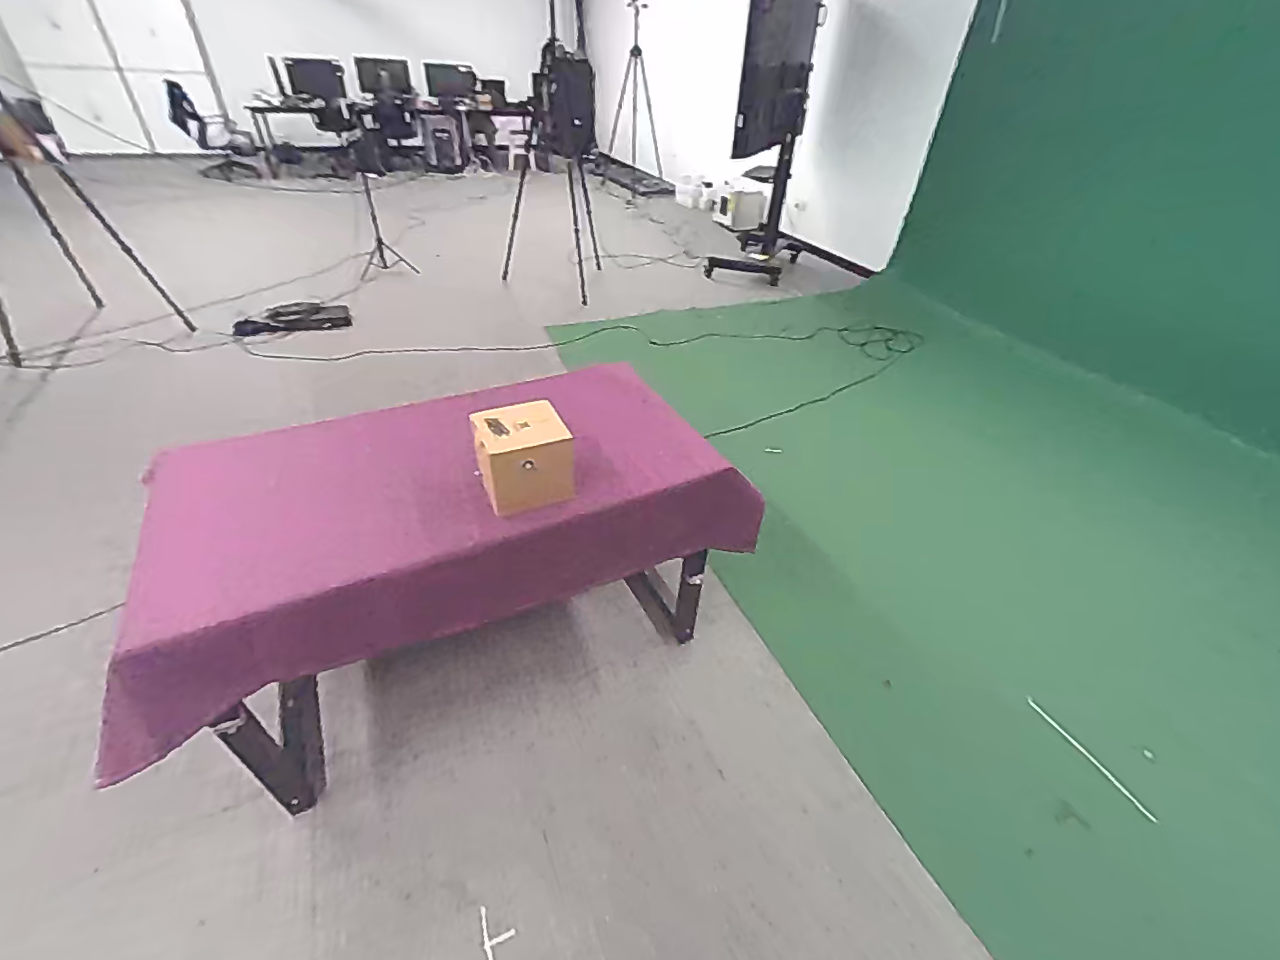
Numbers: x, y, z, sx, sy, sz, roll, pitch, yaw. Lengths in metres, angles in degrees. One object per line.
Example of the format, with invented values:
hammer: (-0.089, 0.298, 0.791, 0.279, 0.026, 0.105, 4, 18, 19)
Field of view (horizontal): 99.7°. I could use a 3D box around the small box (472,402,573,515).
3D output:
small box: (-0.253, -0.046, 1.185, 0.179, 0.176, 0.168, -14, 42, -22)
